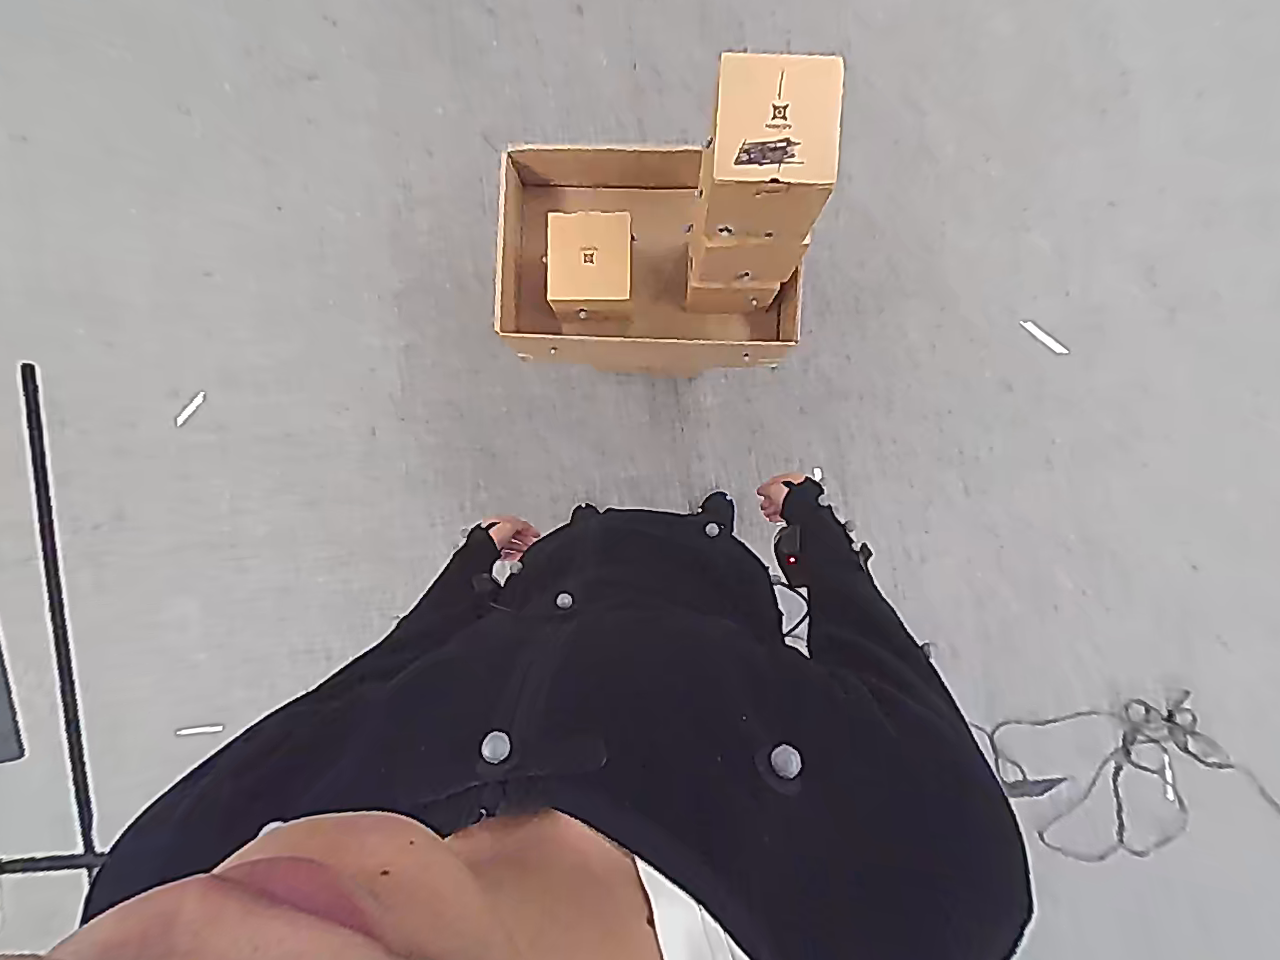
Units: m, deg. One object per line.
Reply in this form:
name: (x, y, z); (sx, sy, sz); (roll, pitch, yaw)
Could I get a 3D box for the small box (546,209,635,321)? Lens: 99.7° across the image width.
small box: (-0.098, -0.440, 1.132); (0.168, 0.176, 0.179); (0, 89, 2)

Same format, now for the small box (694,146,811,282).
small box: (0.192, -0.461, 0.954); (0.179, 0.176, 0.168); (0, 90, 1)

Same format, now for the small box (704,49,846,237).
small box: (0.185, -0.476, 0.789); (0.168, 0.176, 0.179); (4, 90, 2)
